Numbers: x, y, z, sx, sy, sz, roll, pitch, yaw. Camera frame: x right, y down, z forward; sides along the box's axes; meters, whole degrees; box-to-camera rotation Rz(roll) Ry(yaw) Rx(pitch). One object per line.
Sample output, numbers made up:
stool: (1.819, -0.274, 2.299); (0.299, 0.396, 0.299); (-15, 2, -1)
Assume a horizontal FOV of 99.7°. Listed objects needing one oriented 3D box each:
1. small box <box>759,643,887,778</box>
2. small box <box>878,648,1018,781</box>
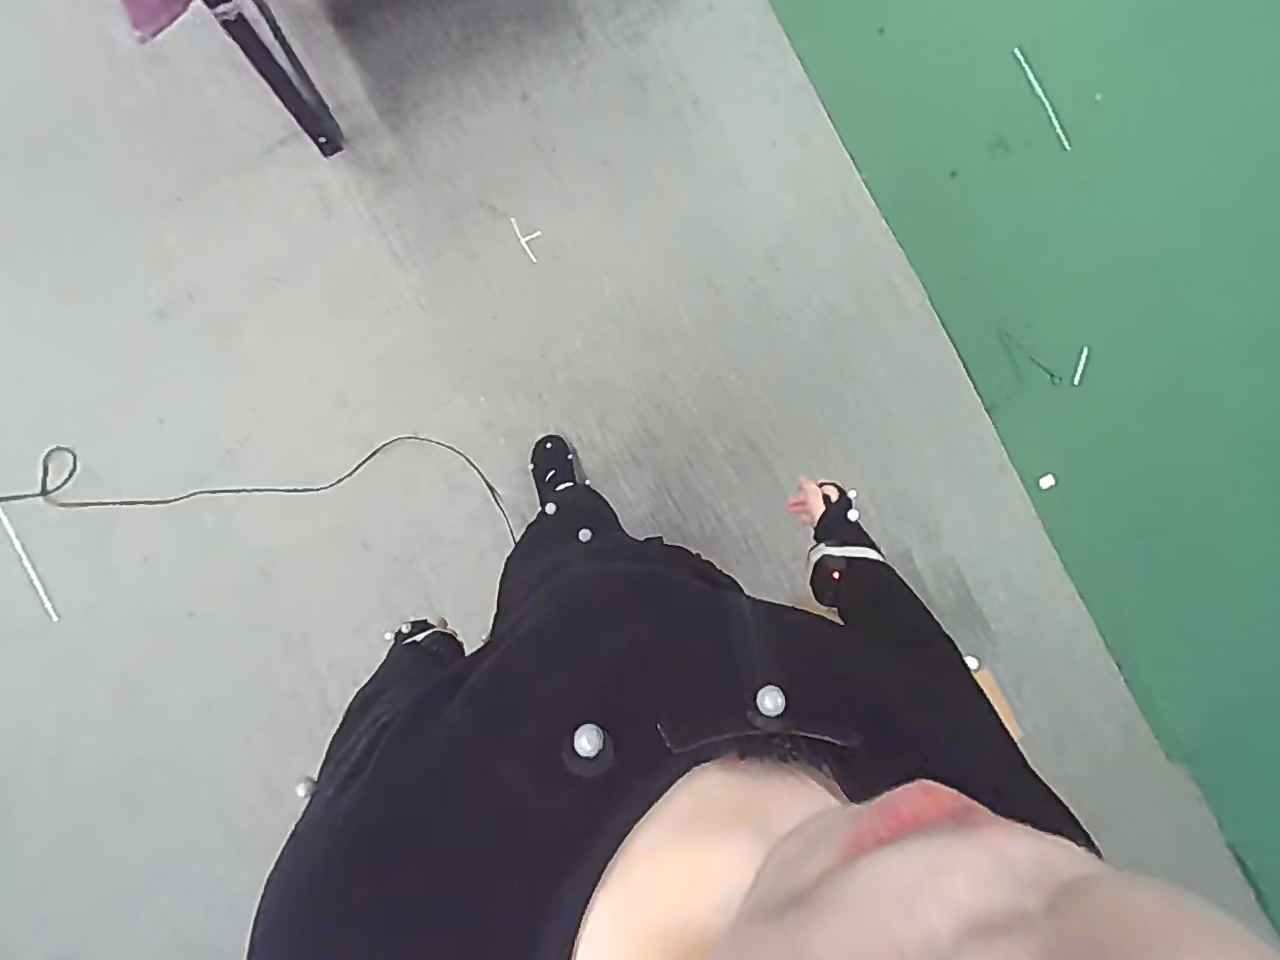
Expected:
small box: (0.372, 0.470, 1.131); (0.168, 0.176, 0.179); (-23, 91, -5)
small box: (0.641, 0.490, 1.157); (0.179, 0.176, 0.168); (-29, 92, -6)
